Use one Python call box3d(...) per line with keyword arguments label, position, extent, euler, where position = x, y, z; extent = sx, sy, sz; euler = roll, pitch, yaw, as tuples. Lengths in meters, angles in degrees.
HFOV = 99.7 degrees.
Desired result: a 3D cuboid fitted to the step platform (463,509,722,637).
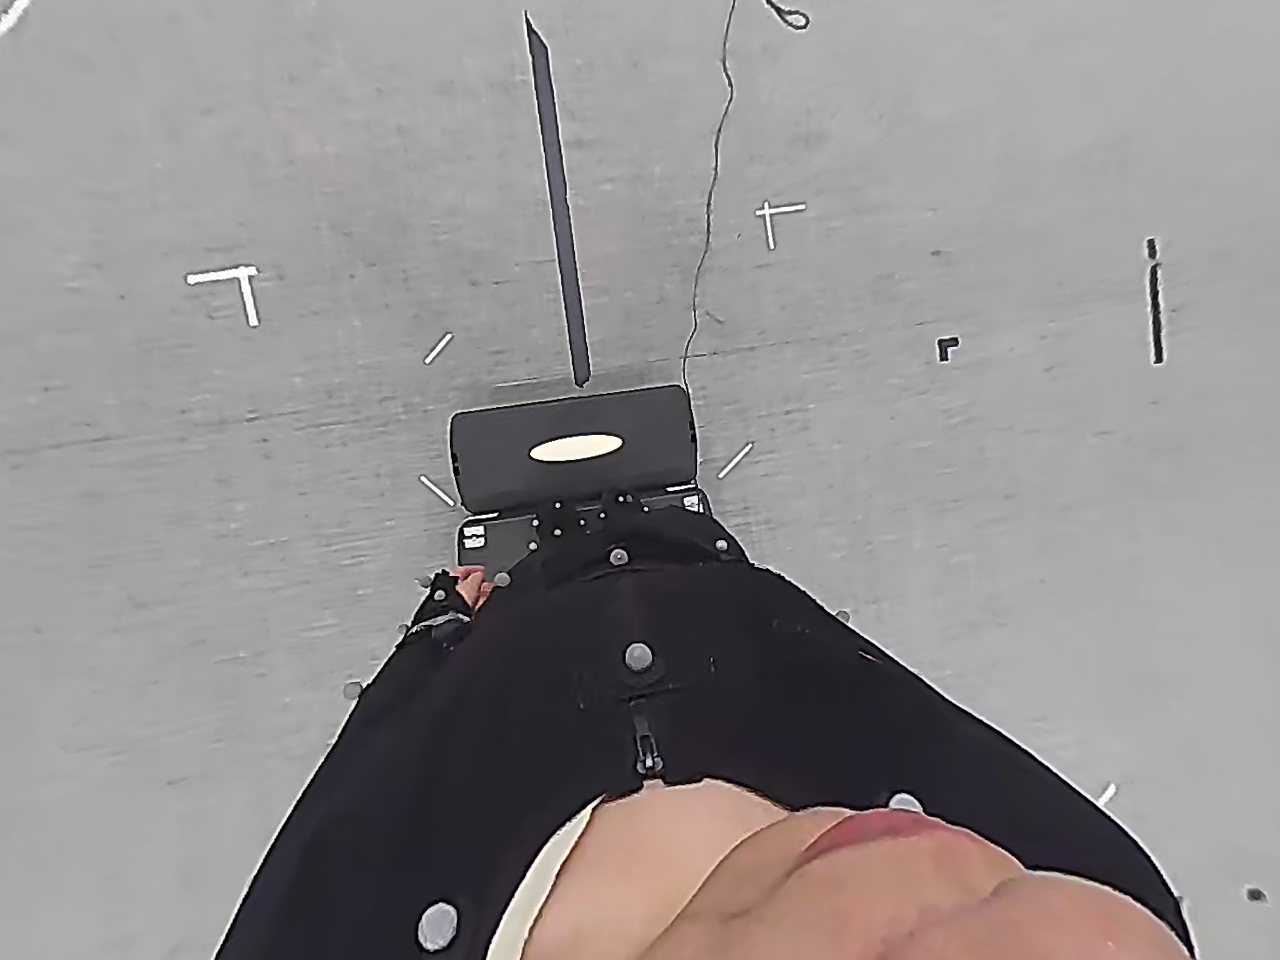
box3d(label="step platform", position=(-0.122, 0.246, 1.469), extent=(0.684, 0.204, 0.286), euler=(-4, 90, -4))
